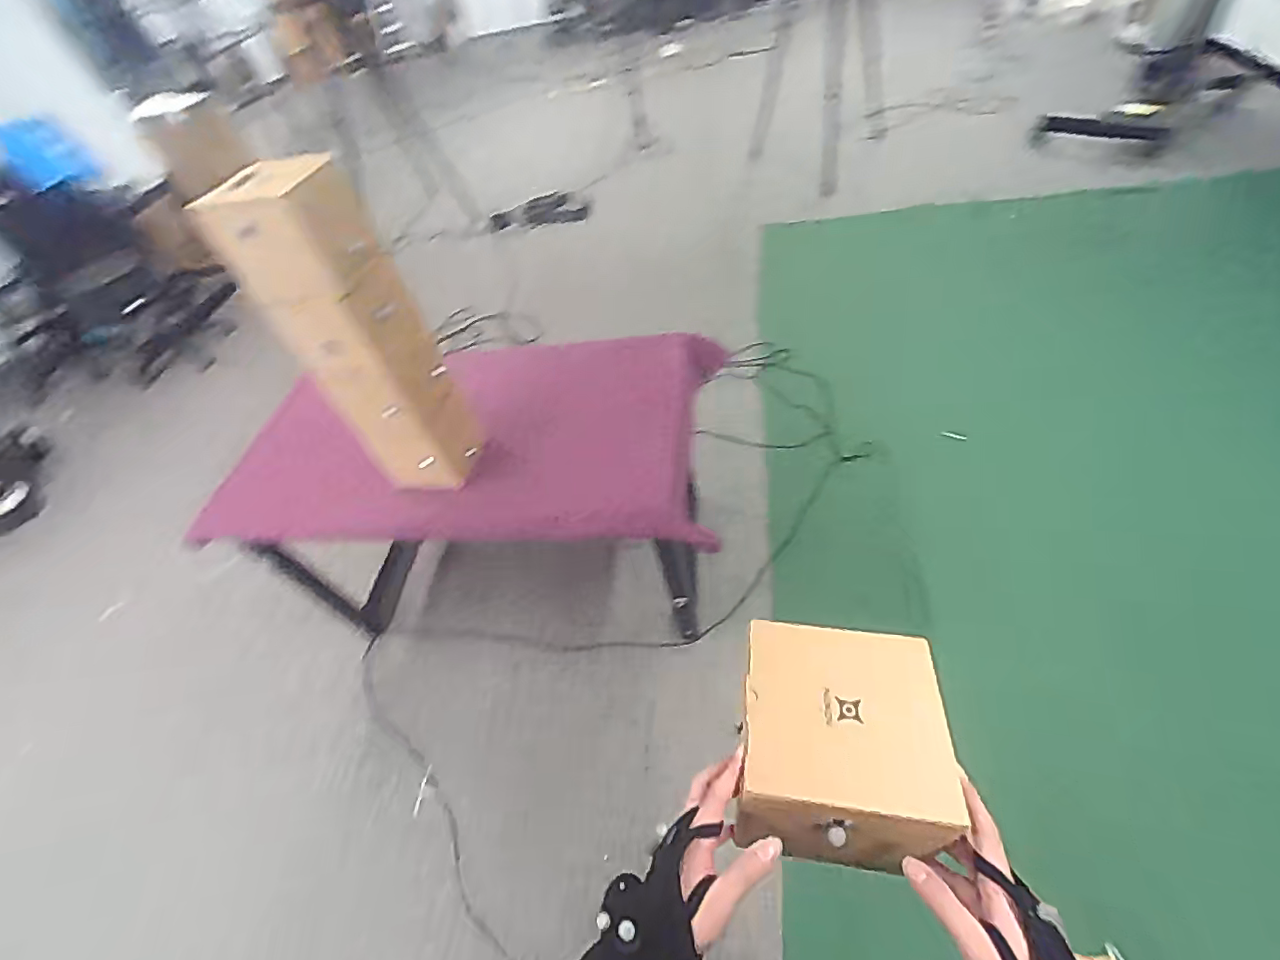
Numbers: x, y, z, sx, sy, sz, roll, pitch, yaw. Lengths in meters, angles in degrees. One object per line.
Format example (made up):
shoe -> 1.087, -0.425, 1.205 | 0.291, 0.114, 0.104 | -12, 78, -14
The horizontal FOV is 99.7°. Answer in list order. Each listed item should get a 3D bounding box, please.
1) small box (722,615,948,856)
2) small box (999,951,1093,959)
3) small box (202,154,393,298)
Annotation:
small box -> 0.176, 0.258, 0.547 | 0.179, 0.176, 0.168 | 2, 44, 10
small box -> 0.808, 1.003, 1.006 | 0.168, 0.176, 0.179 | -4, 50, 10
small box -> -0.565, -0.425, 0.920 | 0.179, 0.176, 0.168 | 1, 50, 12
